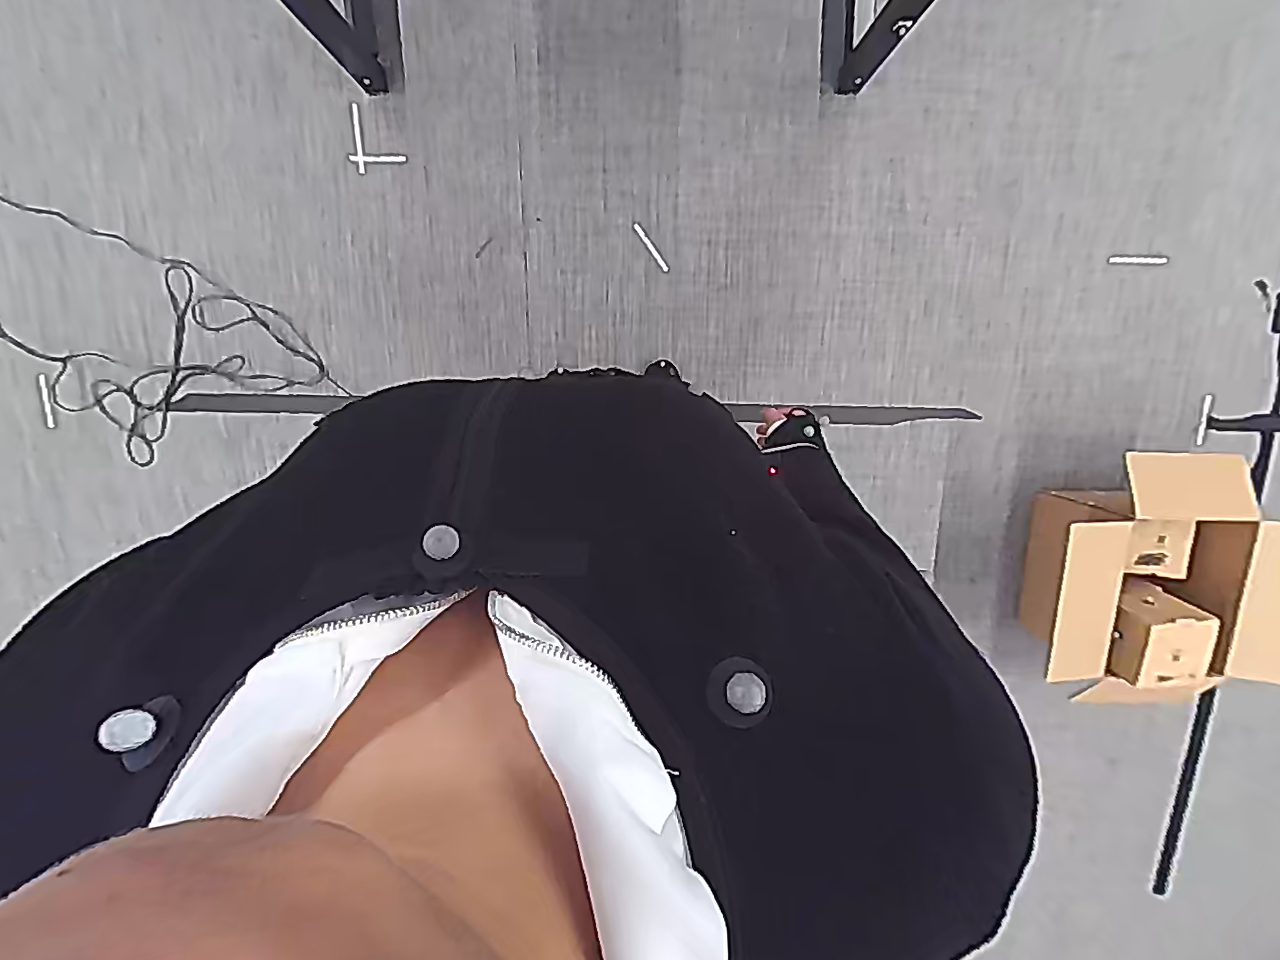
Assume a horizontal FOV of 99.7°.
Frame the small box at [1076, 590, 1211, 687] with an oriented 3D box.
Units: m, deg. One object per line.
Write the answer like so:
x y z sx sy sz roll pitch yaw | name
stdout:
1.237 0.384 1.343 0.168 0.176 0.179 -3 105 -2 | small box
